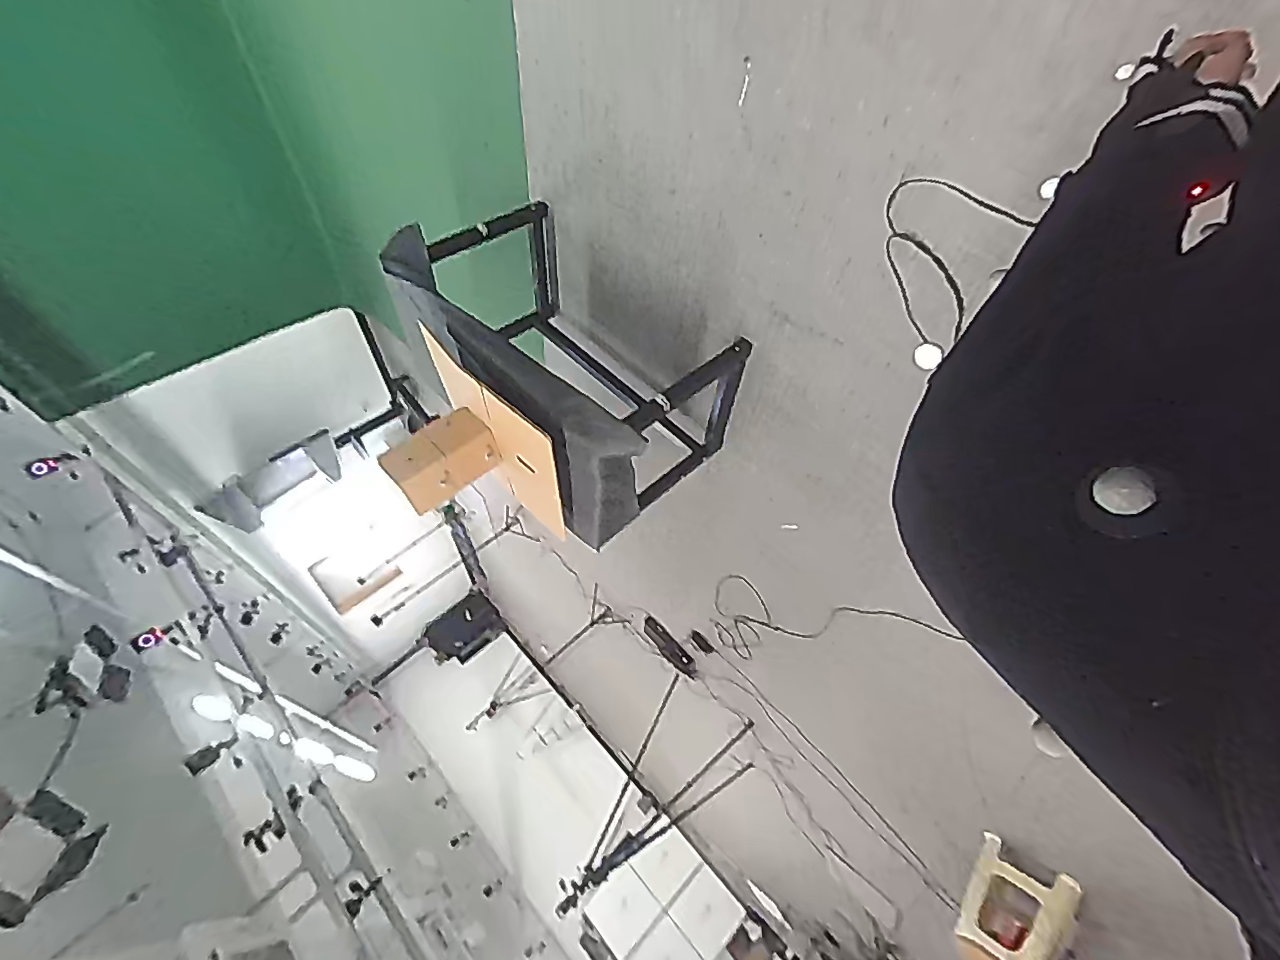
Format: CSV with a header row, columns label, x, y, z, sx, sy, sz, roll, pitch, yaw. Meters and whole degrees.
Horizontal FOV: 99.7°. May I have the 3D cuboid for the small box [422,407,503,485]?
label,x,y,z,sx,sy,sz,roll,pitch,yaw
small box,-0.592,-0.122,1.820,0.179,0.176,0.168,36,153,30

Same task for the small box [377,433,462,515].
label,x,y,z,sx,sy,sz,roll,pitch,yaw
small box,-0.711,-0.027,1.758,0.179,0.176,0.168,36,153,31
